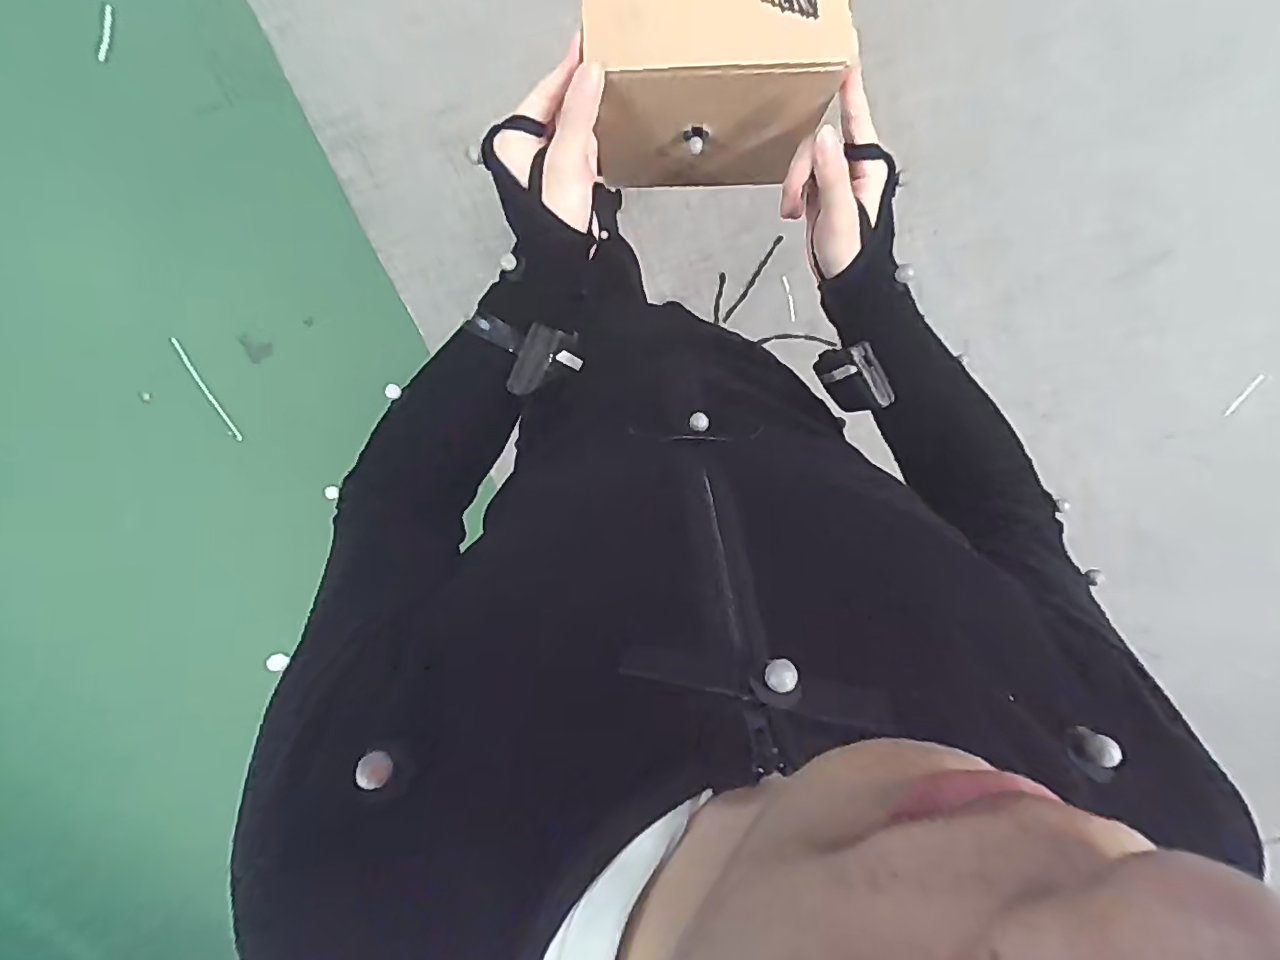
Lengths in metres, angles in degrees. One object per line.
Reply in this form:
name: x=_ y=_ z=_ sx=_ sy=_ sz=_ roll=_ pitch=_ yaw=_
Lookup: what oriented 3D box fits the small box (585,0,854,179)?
small box: x=0.053 y=-0.358 z=0.423 sx=0.179 sy=0.176 sz=0.168 roll=0 pitch=94 yaw=2
